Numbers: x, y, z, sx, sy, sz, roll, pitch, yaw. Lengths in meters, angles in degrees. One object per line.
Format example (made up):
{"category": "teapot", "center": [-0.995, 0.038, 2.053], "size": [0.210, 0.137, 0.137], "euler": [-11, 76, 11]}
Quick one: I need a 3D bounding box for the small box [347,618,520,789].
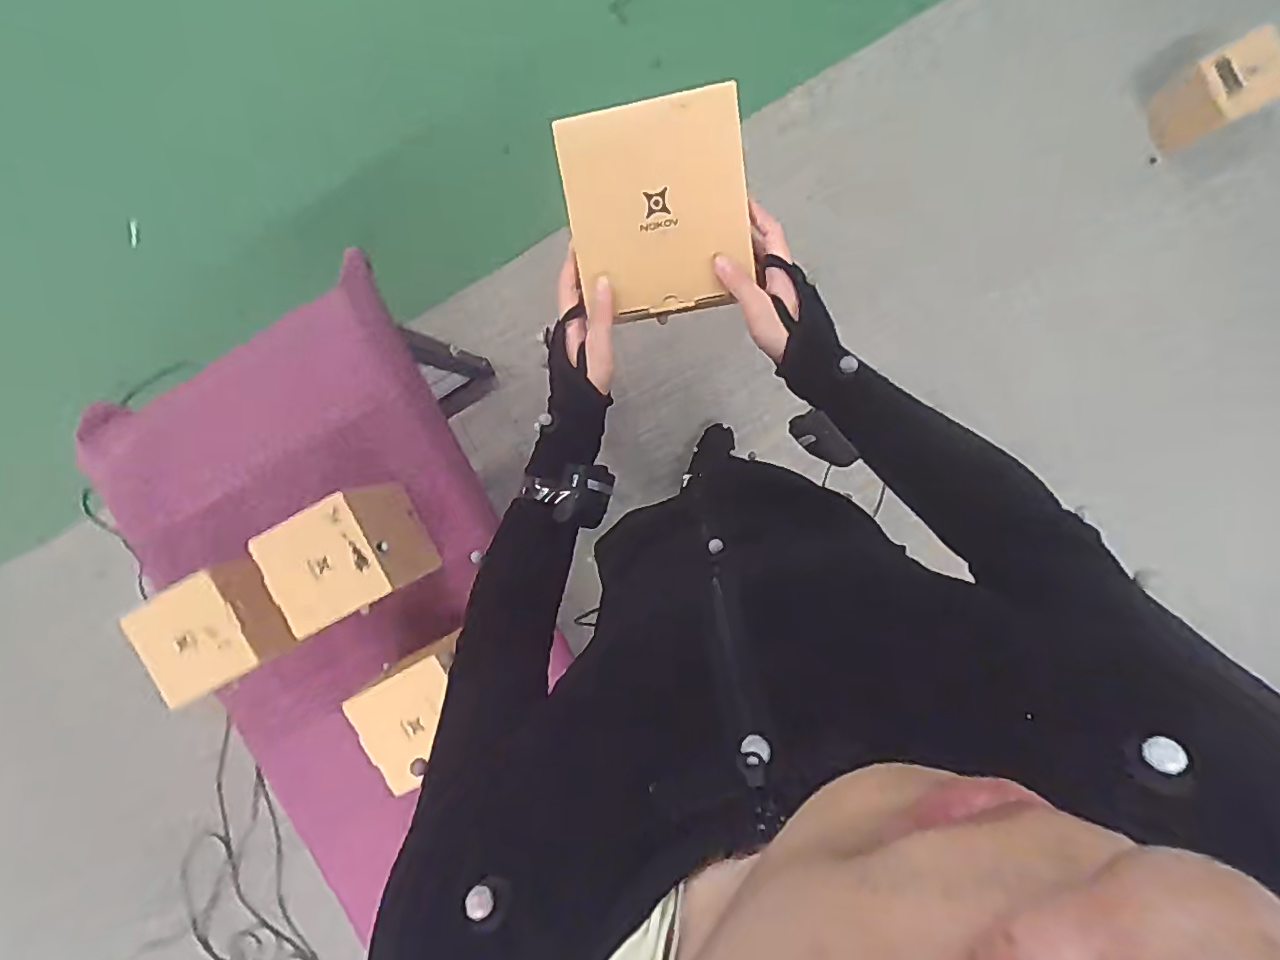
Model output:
{"category": "small box", "center": [-0.329, 0.358, 0.894], "size": [0.179, 0.176, 0.168], "euler": [-29, 92, 7]}

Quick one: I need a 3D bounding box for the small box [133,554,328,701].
{"category": "small box", "center": [-0.681, 0.236, 0.921], "size": [0.179, 0.176, 0.168], "euler": [-28, 91, 7]}

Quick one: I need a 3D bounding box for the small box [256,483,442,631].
{"category": "small box", "center": [-0.465, 0.117, 0.889], "size": [0.179, 0.176, 0.168], "euler": [-27, 91, 8]}

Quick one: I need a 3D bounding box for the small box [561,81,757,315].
{"category": "small box", "center": [0.025, -0.276, 0.574], "size": [0.168, 0.176, 0.179], "euler": [-7, 106, 7]}
